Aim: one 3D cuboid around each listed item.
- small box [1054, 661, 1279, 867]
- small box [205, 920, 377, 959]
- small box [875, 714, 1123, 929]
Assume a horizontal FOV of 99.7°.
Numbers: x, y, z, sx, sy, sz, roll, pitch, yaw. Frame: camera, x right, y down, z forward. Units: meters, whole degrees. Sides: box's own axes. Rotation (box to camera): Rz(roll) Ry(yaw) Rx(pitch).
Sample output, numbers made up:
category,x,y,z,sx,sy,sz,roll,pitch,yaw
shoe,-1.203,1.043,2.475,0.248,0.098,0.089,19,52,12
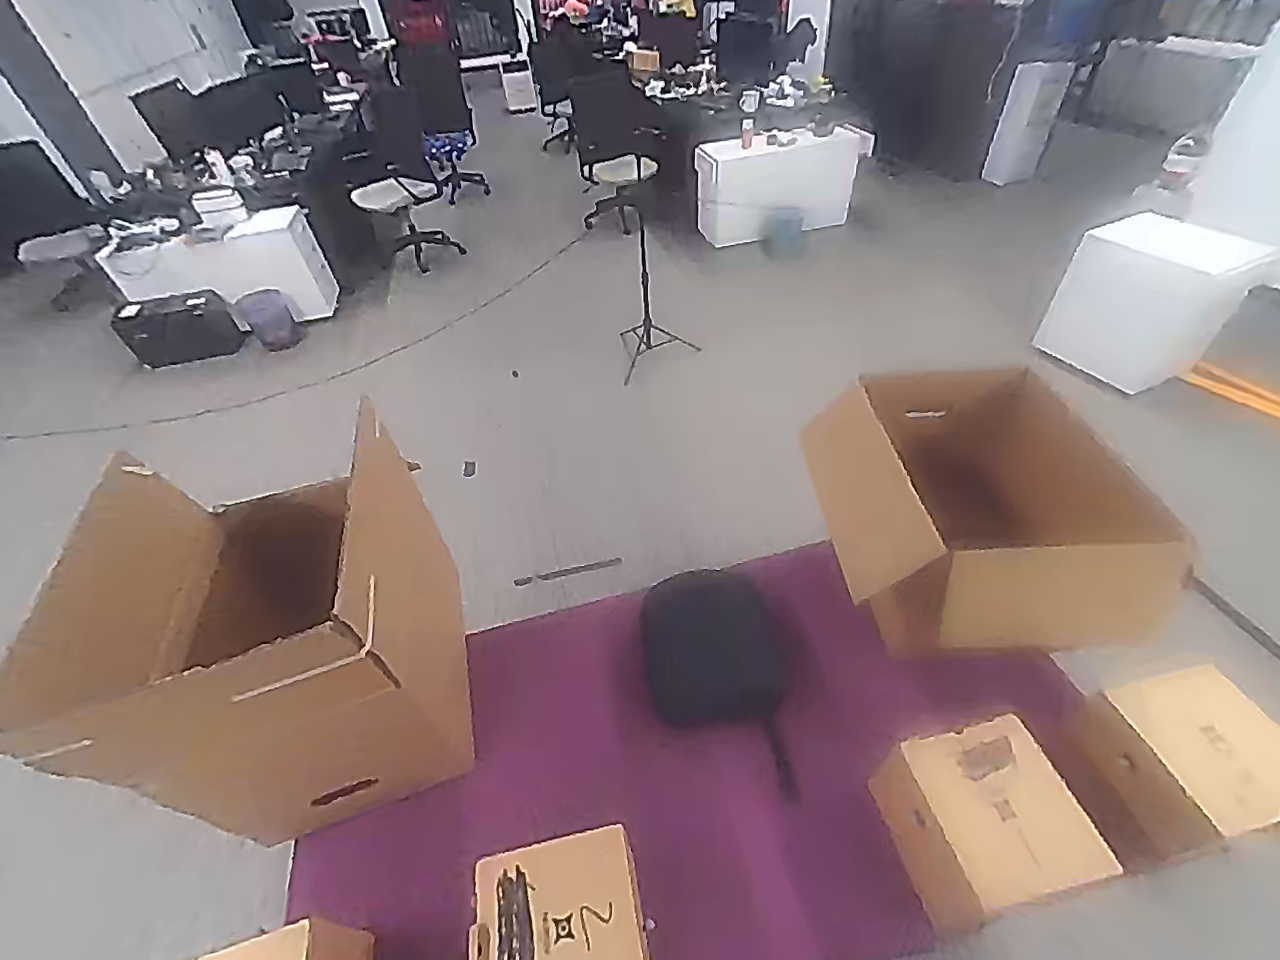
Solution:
category,x,y,z,sx,sy,sz,roll,pitch,yaw
small box,0.703,0.371,0.708,0.168,0.176,0.179,-12,44,-4
small box,-0.412,0.622,0.587,0.179,0.176,0.168,-15,45,-10
small box,0.426,0.430,0.684,0.168,0.176,0.179,-12,45,-5
